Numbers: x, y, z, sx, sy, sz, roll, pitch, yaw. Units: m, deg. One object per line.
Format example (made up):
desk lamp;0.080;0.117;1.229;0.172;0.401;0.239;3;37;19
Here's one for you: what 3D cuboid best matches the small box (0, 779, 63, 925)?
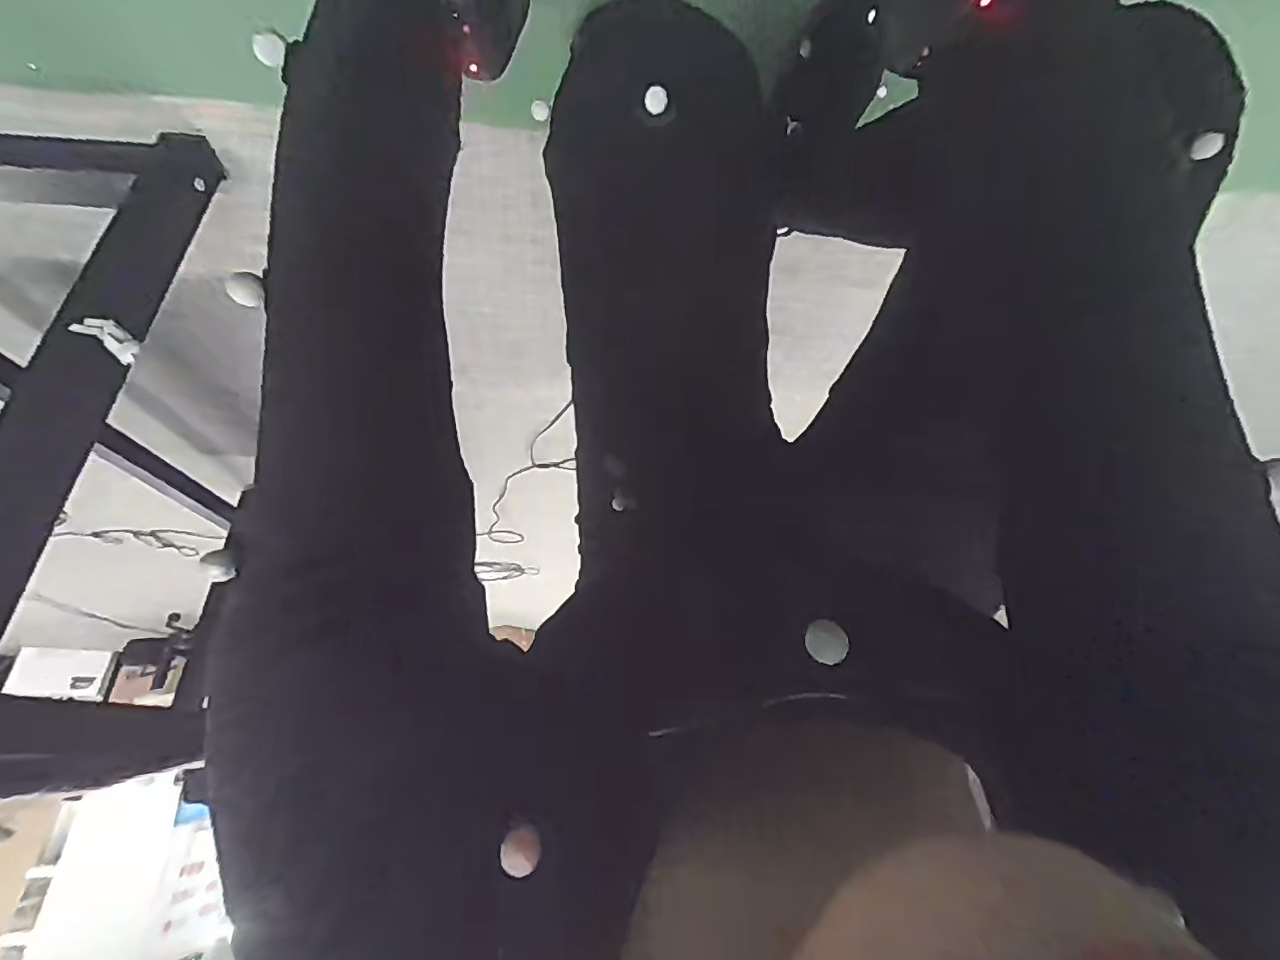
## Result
small box;-0.717;0.373;0.496;0.179;0.176;0.168;5;155;-9
